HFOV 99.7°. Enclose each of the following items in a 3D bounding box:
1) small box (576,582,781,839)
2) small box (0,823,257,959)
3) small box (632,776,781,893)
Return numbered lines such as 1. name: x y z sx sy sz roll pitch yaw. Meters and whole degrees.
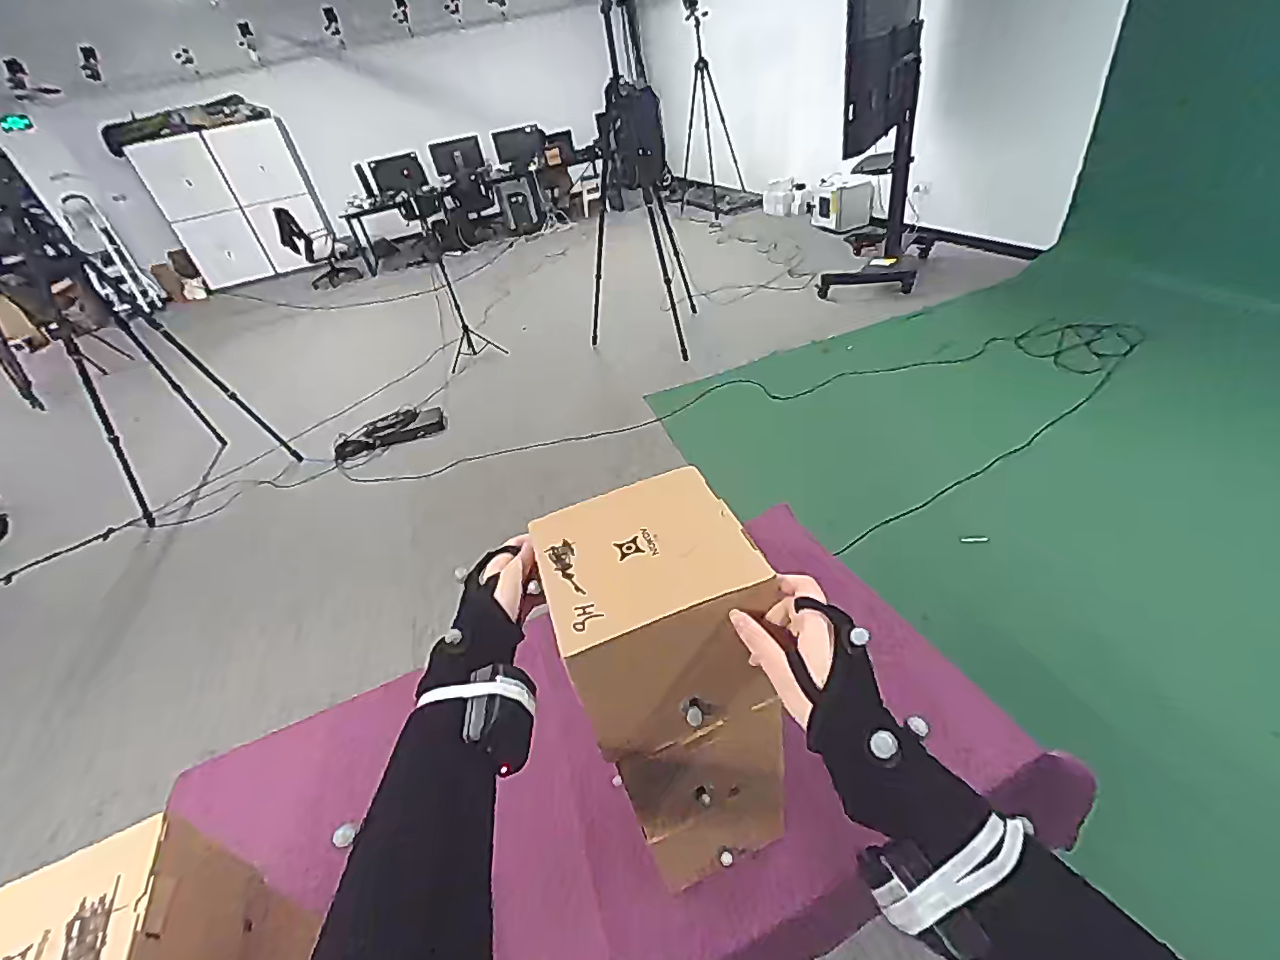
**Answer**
1. small box: 0.041 0.253 0.606 0.168 0.176 0.179 -20 38 -10
2. small box: -0.483 0.458 0.481 0.179 0.176 0.168 -23 38 -14
3. small box: 0.066 0.382 0.702 0.168 0.176 0.179 -21 37 -10
